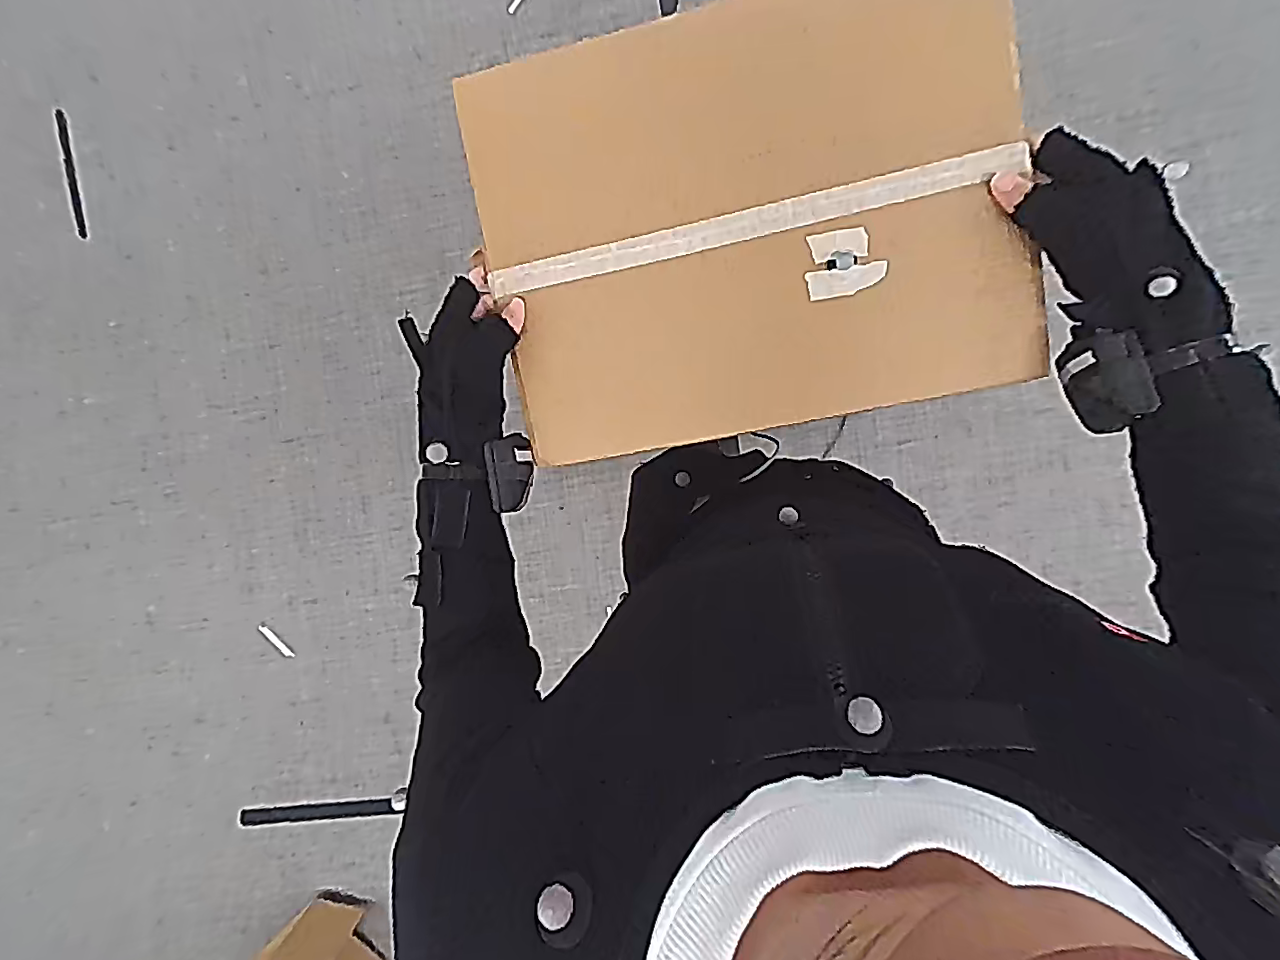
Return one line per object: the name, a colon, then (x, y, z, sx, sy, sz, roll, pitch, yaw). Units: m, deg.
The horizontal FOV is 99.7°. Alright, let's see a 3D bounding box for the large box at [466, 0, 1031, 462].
large box: (0.095, -0.220, 0.574, 0.408, 0.320, 0.320, -11, 97, 7)
